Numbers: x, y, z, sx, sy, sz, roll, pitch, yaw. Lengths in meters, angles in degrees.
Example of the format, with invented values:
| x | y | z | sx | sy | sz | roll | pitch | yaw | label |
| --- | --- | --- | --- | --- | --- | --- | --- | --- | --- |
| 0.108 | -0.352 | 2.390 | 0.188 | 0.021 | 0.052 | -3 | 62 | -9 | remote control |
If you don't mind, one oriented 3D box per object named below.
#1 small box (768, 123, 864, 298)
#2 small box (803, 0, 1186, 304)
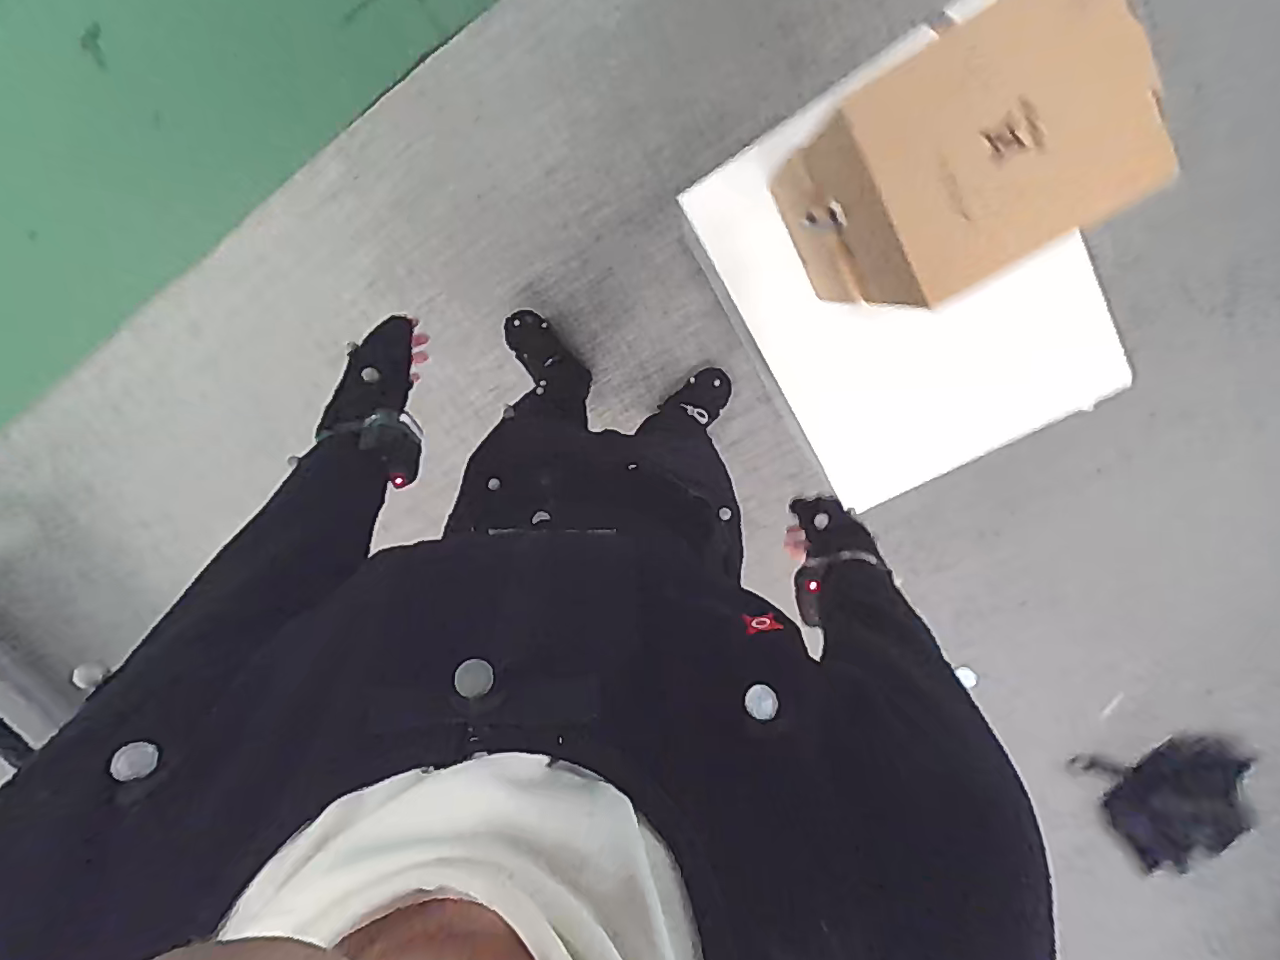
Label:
| x | y | z | sx | sy | sz | roll | pitch | yaw | label |
| --- | --- | --- | --- | --- | --- | --- | --- | --- | --- |
| 0.262 | -0.321 | 0.601 | 0.179 | 0.176 | 0.168 | -26 | 105 | 13 | small box |
| 0.254 | -0.261 | 0.432 | 0.179 | 0.176 | 0.168 | -28 | 104 | 15 | small box |
